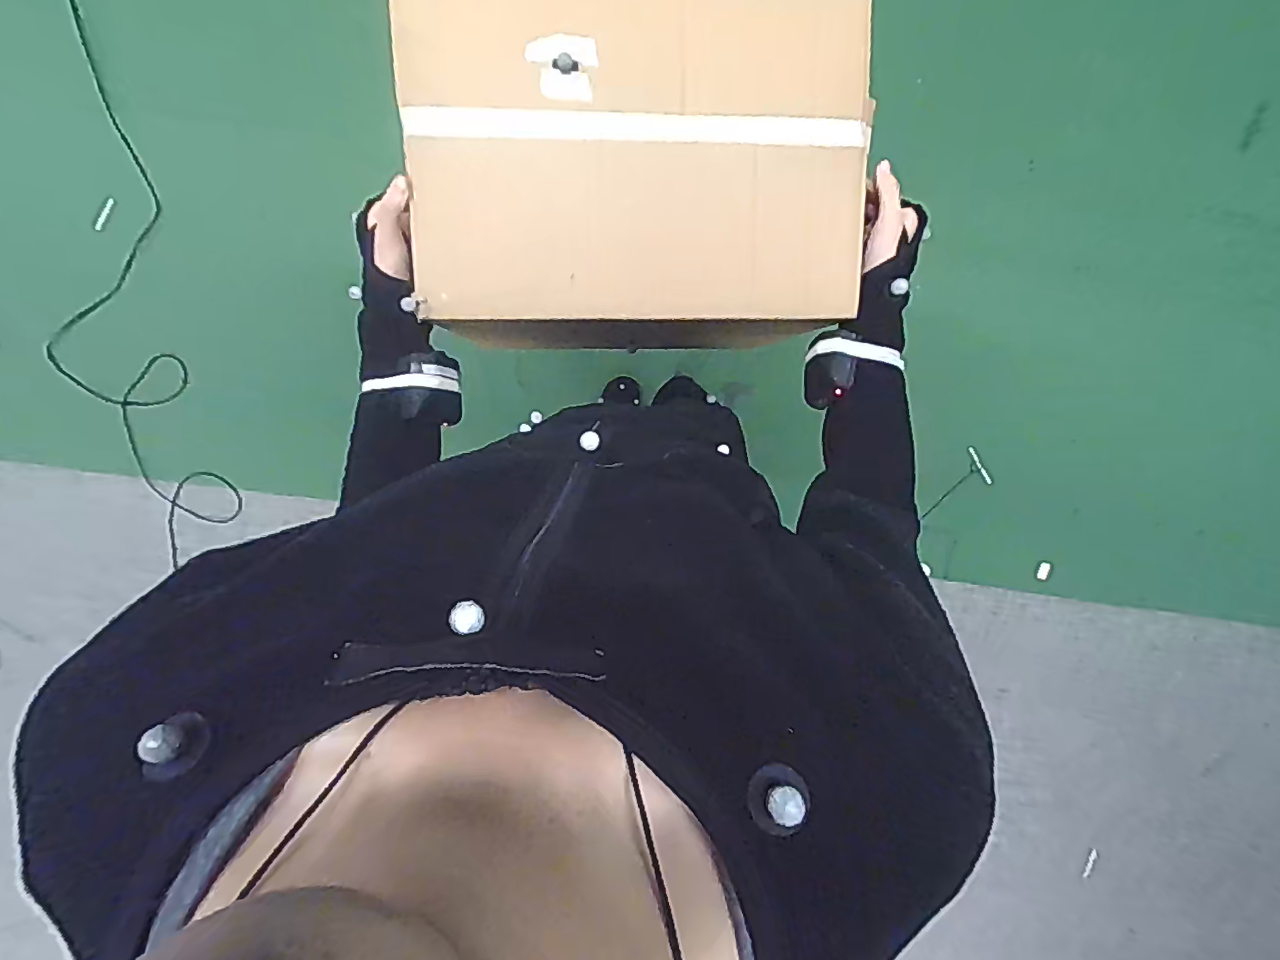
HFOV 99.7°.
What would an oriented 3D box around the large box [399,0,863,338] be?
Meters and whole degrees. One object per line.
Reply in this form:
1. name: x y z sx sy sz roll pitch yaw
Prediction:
1. large box: -0.011 -0.334 0.624 0.408 0.320 0.320 -1 99 -5
